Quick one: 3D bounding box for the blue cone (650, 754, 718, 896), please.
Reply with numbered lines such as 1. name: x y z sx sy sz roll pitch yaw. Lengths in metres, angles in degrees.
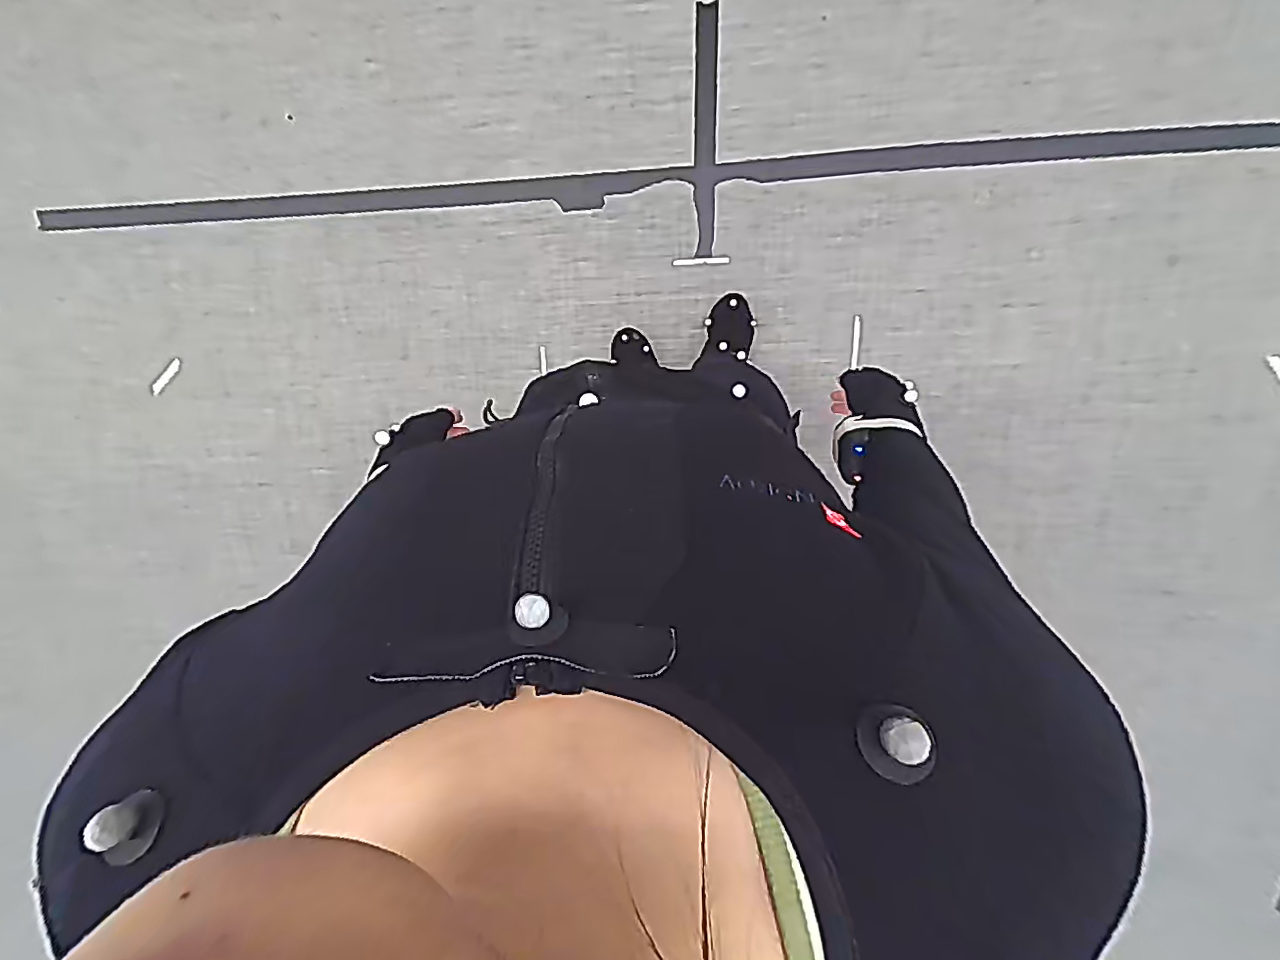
1. blue cone: 0.129 1.009 1.565 0.193 0.380 0.192 -16 104 10
